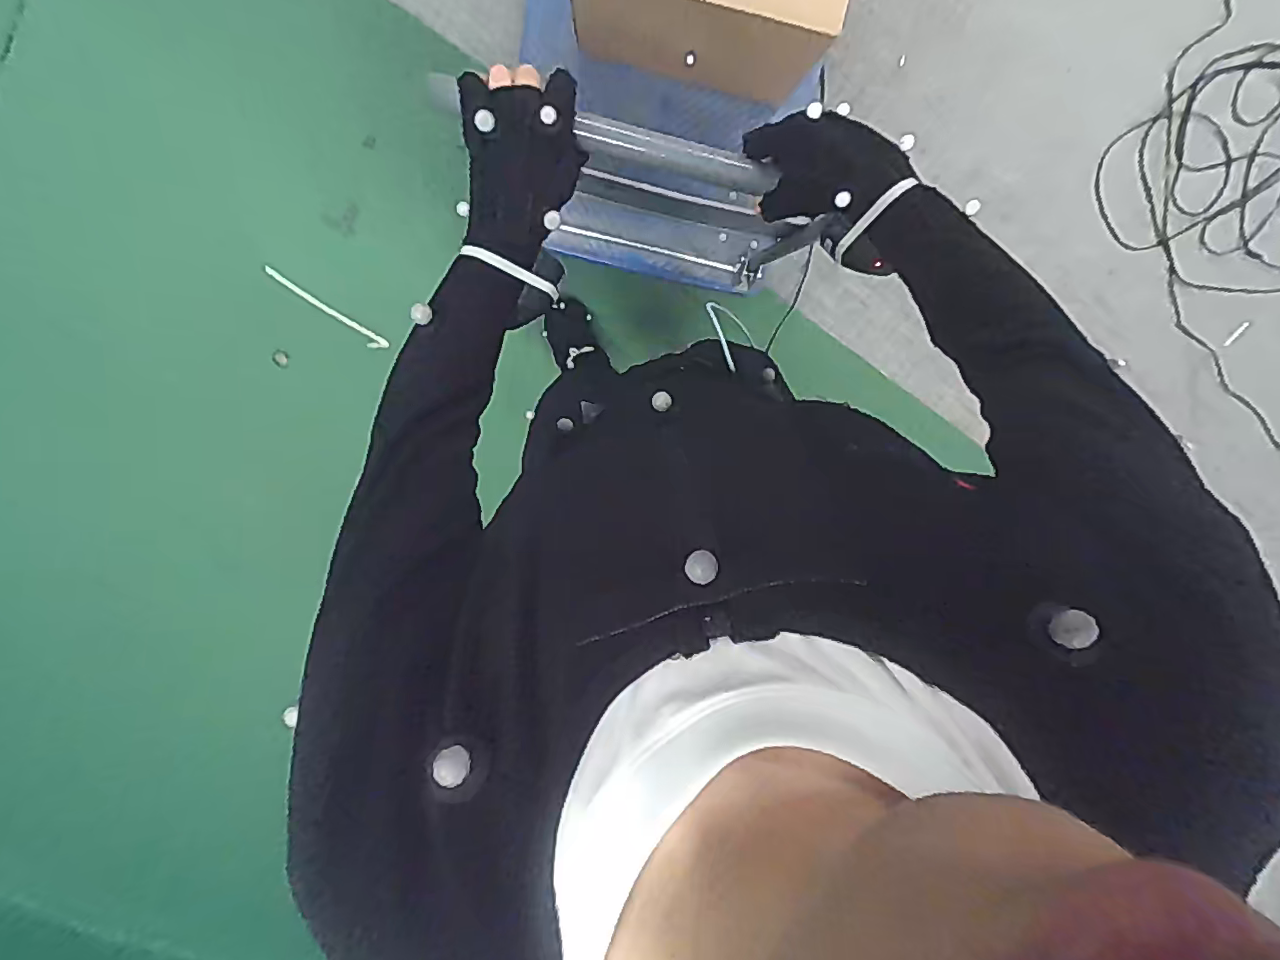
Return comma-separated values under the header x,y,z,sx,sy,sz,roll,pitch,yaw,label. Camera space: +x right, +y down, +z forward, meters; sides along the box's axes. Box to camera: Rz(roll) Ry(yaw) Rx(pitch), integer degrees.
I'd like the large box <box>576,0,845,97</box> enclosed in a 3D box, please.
x,y,z,sx,sy,sz,roll,pitch,yaw,label
0.119,-0.880,0.874,0.408,0.320,0.320,9,107,-5,large box
